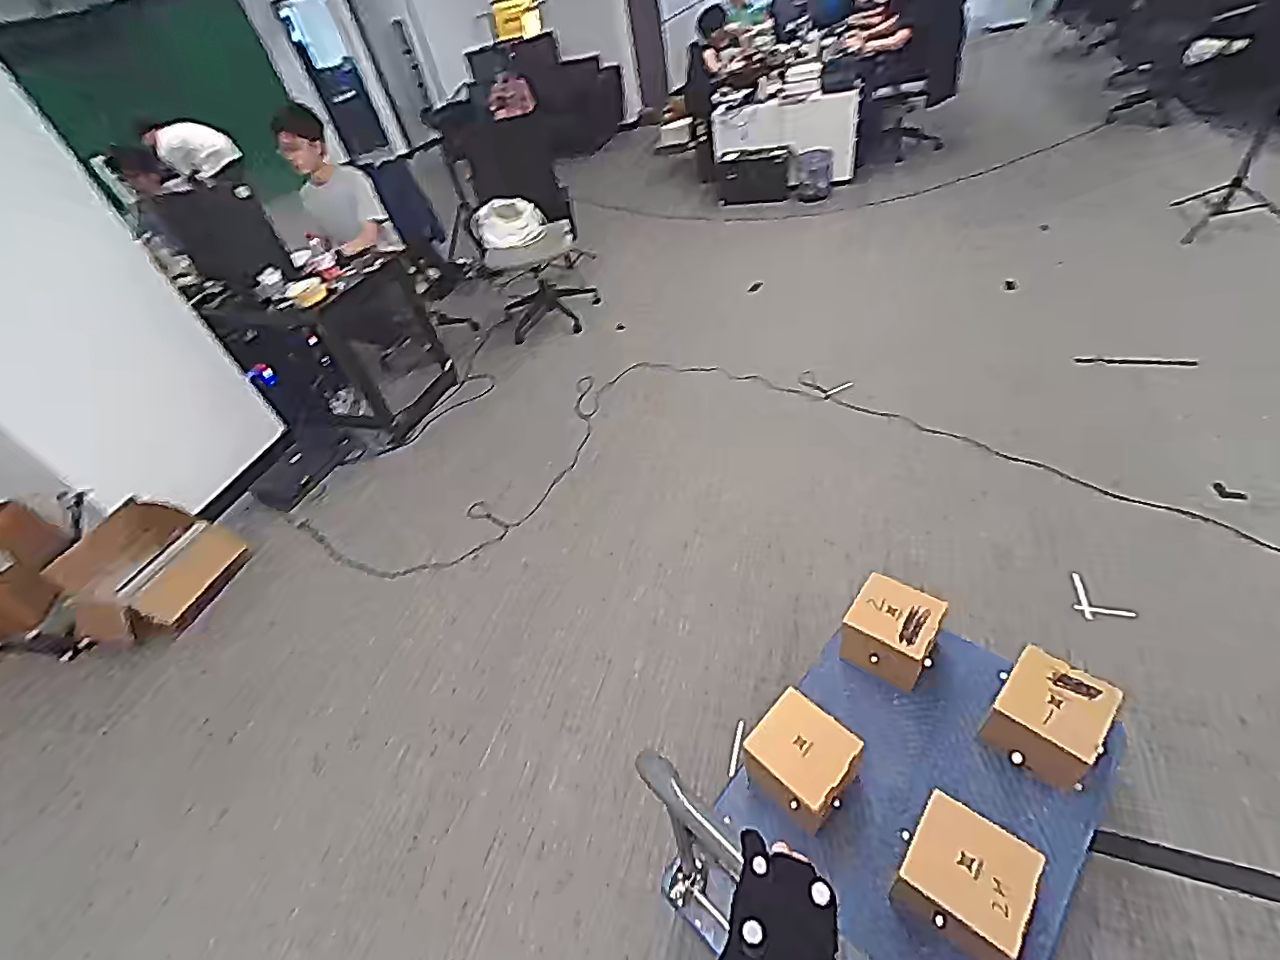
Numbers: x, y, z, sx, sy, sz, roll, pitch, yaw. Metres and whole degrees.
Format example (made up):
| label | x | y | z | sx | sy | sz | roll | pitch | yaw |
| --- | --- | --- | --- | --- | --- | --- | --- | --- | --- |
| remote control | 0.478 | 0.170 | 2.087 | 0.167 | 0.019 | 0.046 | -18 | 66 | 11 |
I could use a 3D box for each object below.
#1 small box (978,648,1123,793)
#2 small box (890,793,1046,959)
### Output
| label | x | y | z | sx | sy | sz | roll | pitch | yaw |
| --- | --- | --- | --- | --- | --- | --- | --- | --- | --- |
| small box | 0.817 | 0.486 | 1.092 | 0.168 | 0.176 | 0.179 | 30 | 59 | 37 |
| small box | 0.558 | 0.698 | 0.941 | 0.179 | 0.176 | 0.168 | 25 | 56 | 34 |
